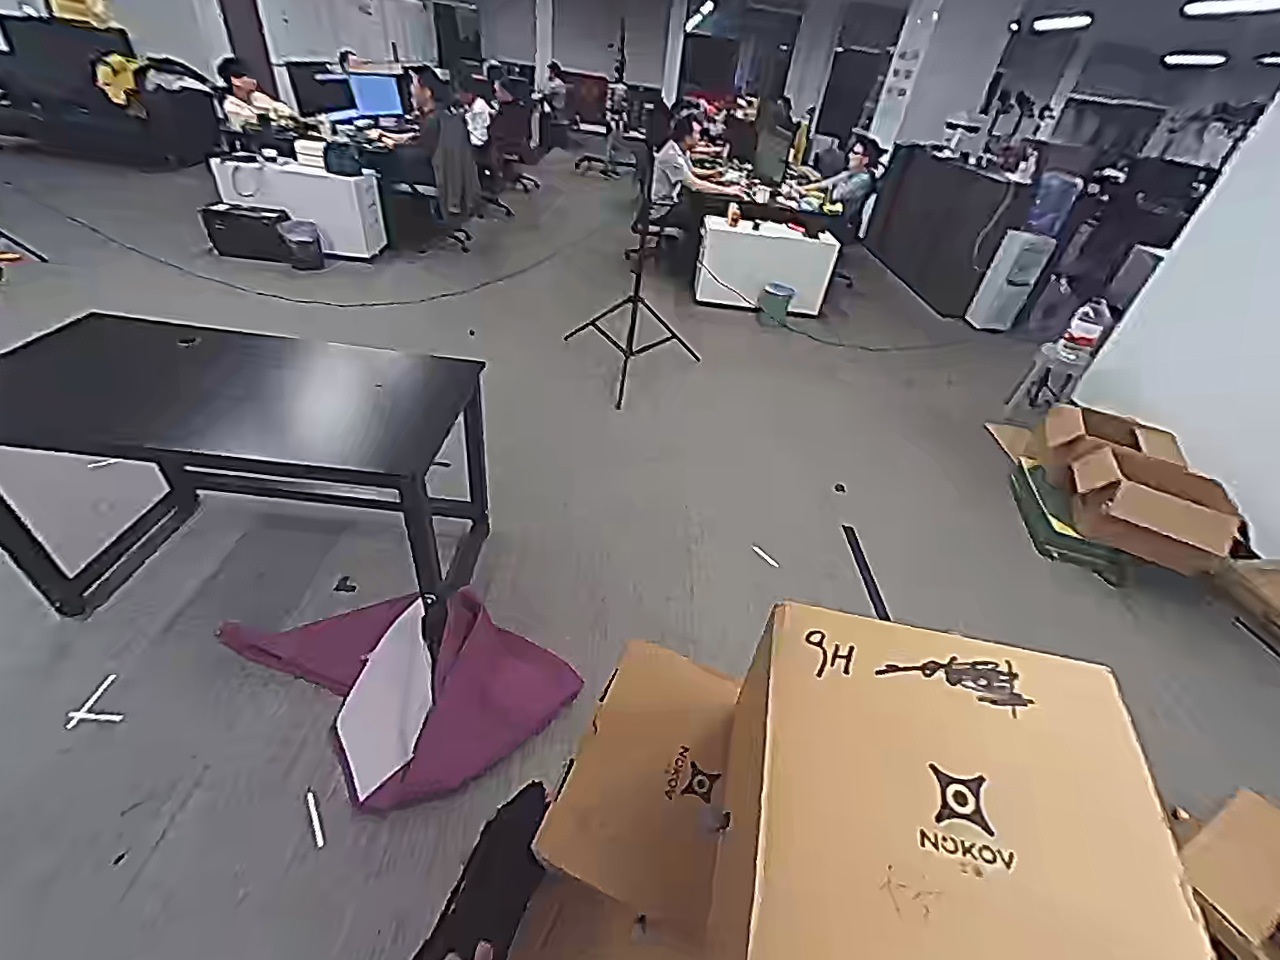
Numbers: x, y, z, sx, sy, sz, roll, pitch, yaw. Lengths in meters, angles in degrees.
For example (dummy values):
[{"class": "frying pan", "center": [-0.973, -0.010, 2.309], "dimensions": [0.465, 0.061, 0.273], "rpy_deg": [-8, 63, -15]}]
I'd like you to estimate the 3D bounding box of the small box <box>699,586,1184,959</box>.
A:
[{"class": "small box", "center": [0.127, 0.187, 0.293], "dimensions": [0.168, 0.176, 0.179], "rpy_deg": [10, 50, 8]}]
